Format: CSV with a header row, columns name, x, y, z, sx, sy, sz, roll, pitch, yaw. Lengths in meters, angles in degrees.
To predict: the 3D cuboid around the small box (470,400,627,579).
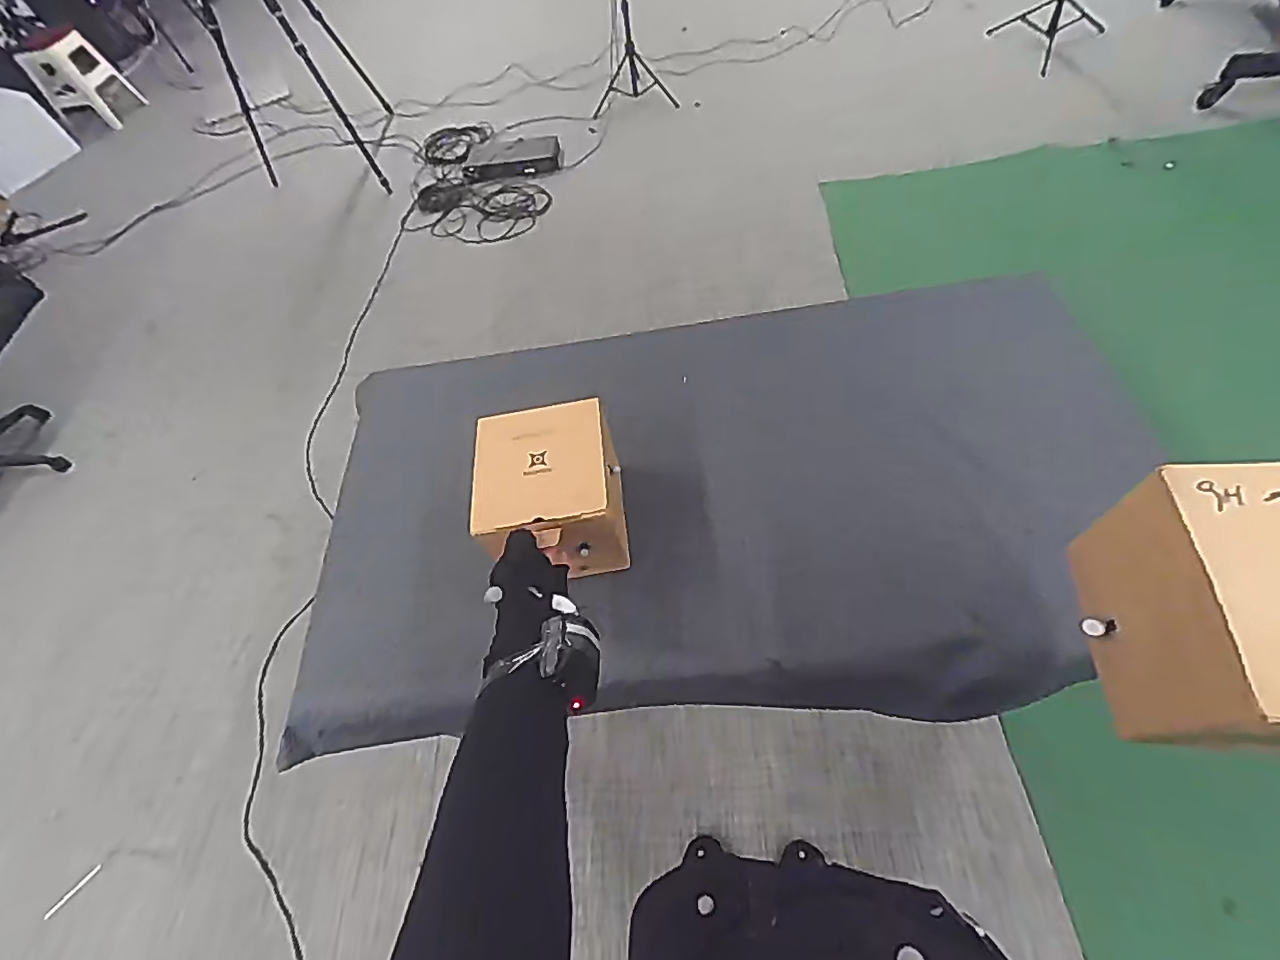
name,x,y,z,sx,sy,sz,roll,pitch,yaw
small box,-0.114,0.022,0.730,0.168,0.176,0.179,-9,55,3
